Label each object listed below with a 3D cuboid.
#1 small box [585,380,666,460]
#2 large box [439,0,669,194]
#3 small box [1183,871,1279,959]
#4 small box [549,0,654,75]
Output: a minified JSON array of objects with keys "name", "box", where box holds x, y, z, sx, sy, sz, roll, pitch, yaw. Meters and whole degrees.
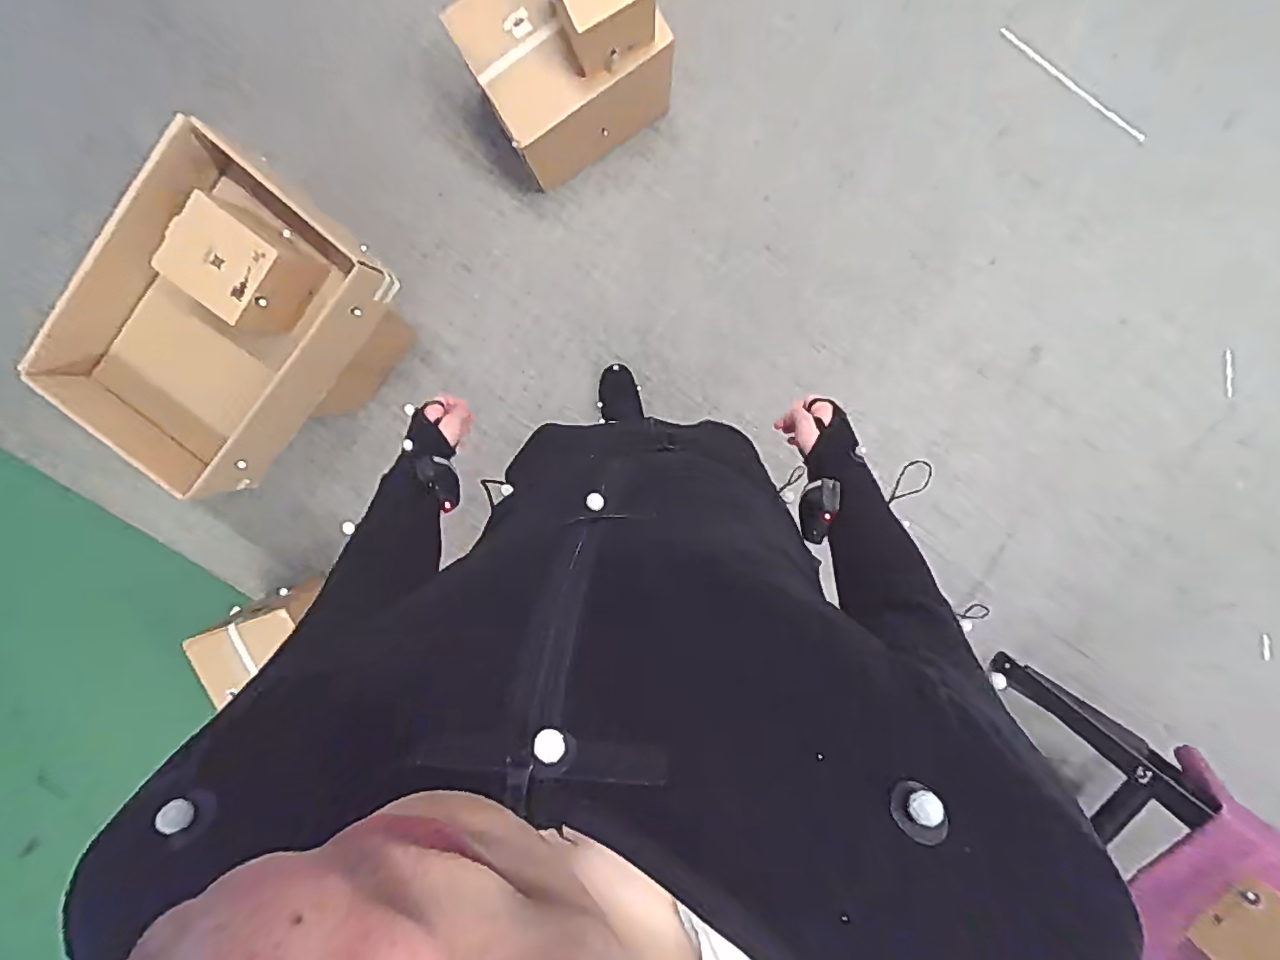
[{"name":"small box","box":[-0.041,-0.169,1.529,0.179,0.176,0.168,30,98,3]},{"name":"large box","box":[-0.179,-0.978,1.289,0.408,0.320,0.320,-32,98,7]},{"name":"small box","box":[1.134,0.836,0.944,0.179,0.176,0.168,35,100,-8]},{"name":"small box","box":[-0.085,-0.944,1.045,0.168,0.176,0.179,-26,102,6]}]
